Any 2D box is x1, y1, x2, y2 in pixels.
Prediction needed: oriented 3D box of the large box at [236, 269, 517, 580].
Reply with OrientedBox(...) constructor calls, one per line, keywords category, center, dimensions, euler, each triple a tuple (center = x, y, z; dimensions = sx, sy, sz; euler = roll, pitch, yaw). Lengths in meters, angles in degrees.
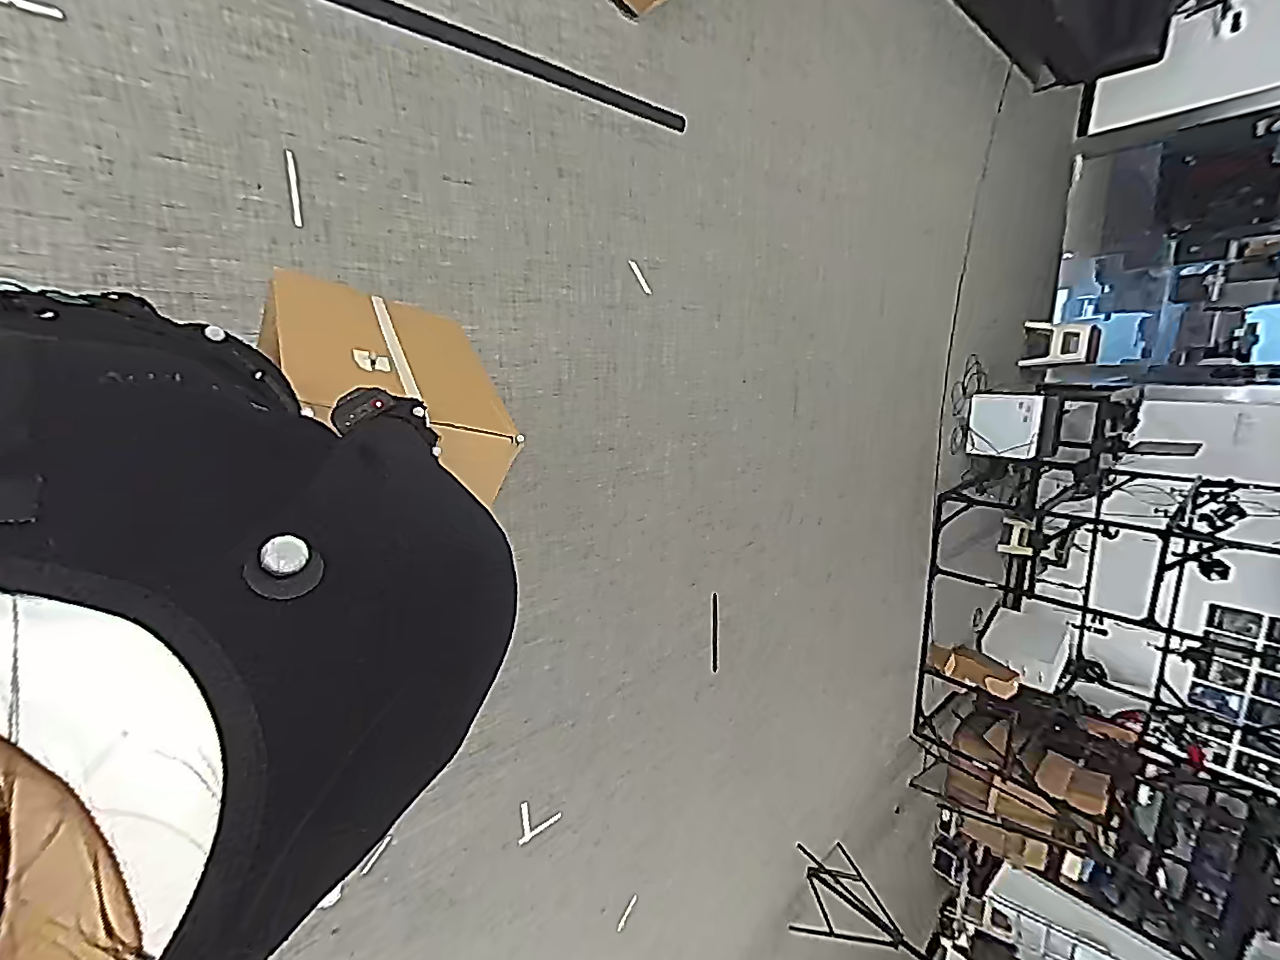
OrientedBox(category="large box", center=(-0.467, -0.084, 0.915), dimensions=(0.320, 0.408, 0.320), euler=(7, 126, -41))
